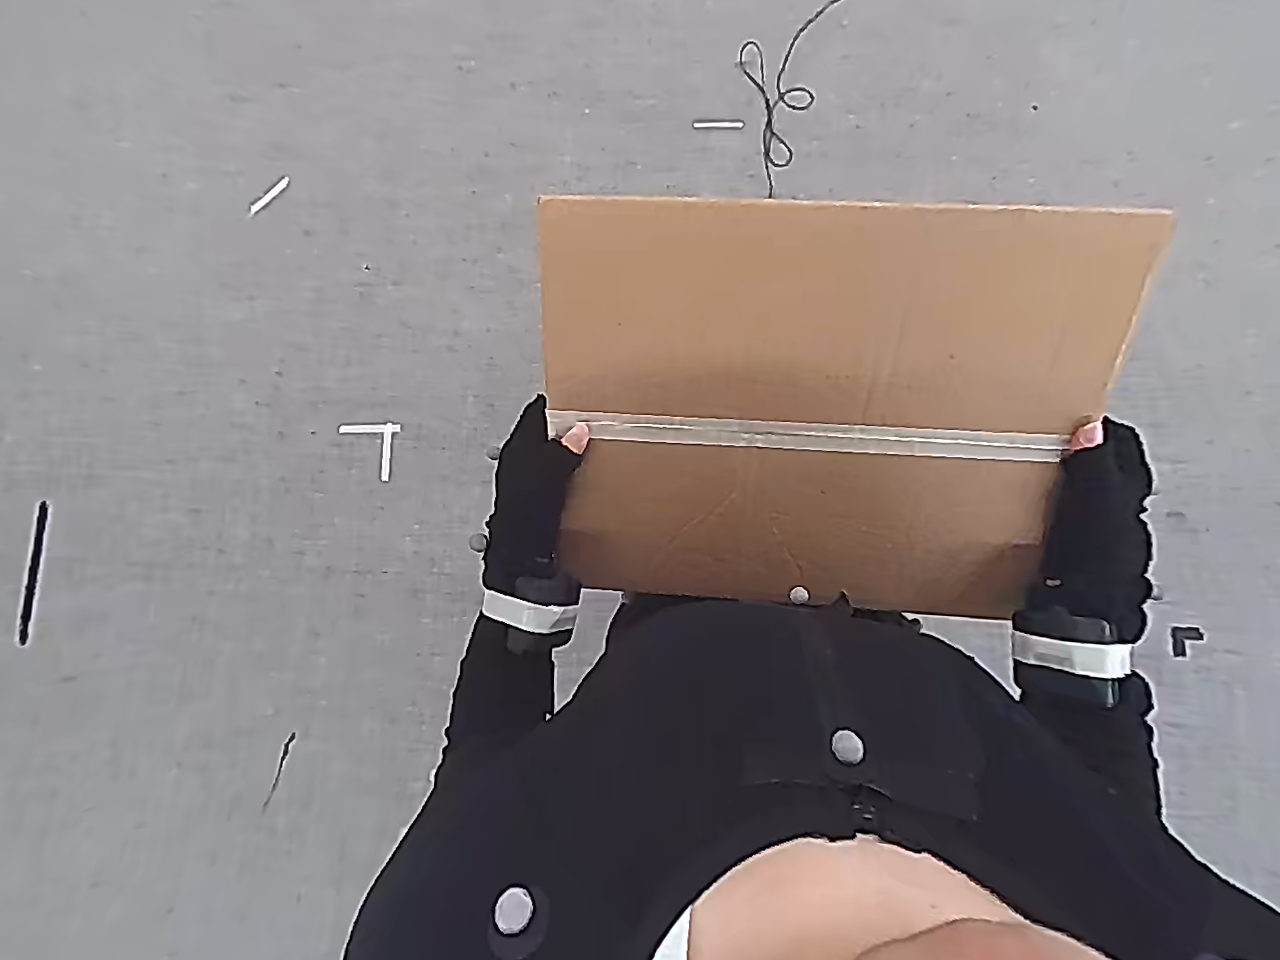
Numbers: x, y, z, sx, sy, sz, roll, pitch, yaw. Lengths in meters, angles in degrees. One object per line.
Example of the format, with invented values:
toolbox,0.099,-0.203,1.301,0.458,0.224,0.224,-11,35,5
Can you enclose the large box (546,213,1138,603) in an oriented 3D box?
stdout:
large box,0.143,-0.099,0.564,0.408,0.320,0.320,3,114,4
